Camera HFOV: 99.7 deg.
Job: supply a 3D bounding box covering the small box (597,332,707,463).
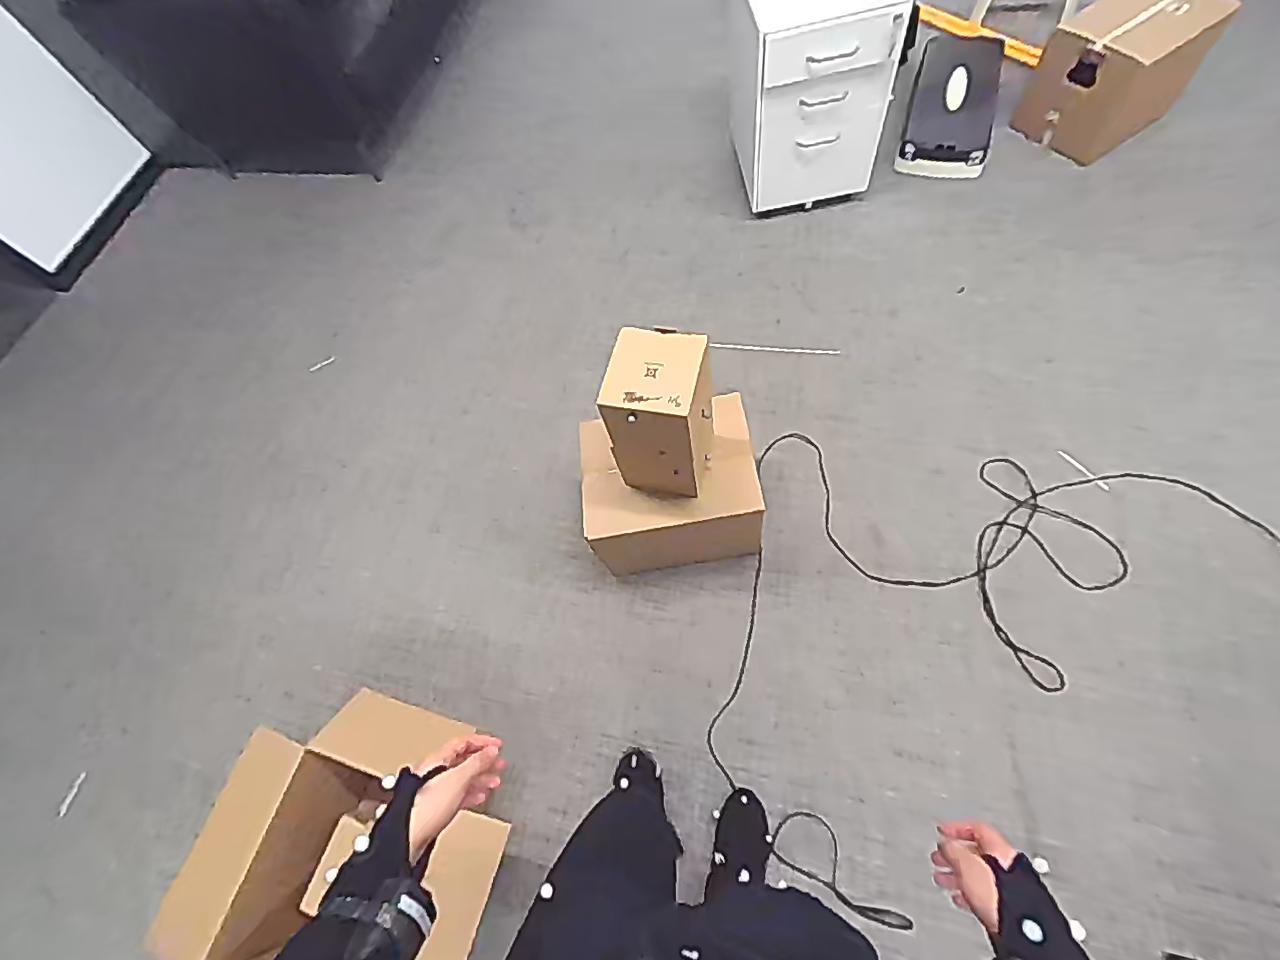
[{"bbox_3d":[0.033,-0.157,1.042,0.168,0.176,0.179,9,65,15],"label":"small box"}]
